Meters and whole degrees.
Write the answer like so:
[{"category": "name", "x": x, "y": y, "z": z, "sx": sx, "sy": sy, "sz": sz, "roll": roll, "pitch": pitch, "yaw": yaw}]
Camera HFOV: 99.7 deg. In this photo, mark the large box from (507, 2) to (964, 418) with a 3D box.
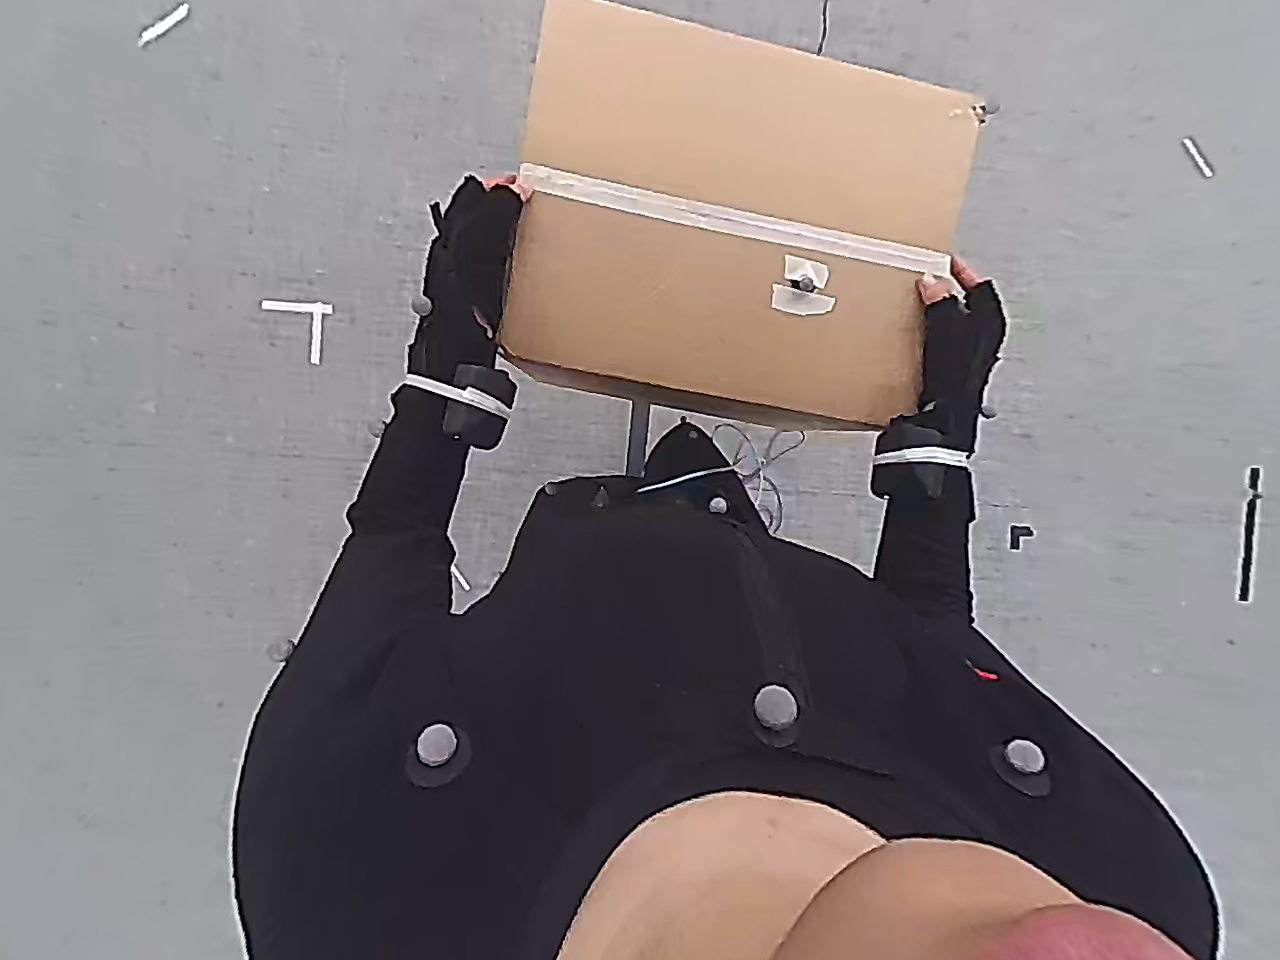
[{"category": "large box", "x": 0.079, "y": -0.261, "z": 0.658, "sx": 0.408, "sy": 0.320, "sz": 0.320, "roll": 10, "pitch": 96, "yaw": -6}]
